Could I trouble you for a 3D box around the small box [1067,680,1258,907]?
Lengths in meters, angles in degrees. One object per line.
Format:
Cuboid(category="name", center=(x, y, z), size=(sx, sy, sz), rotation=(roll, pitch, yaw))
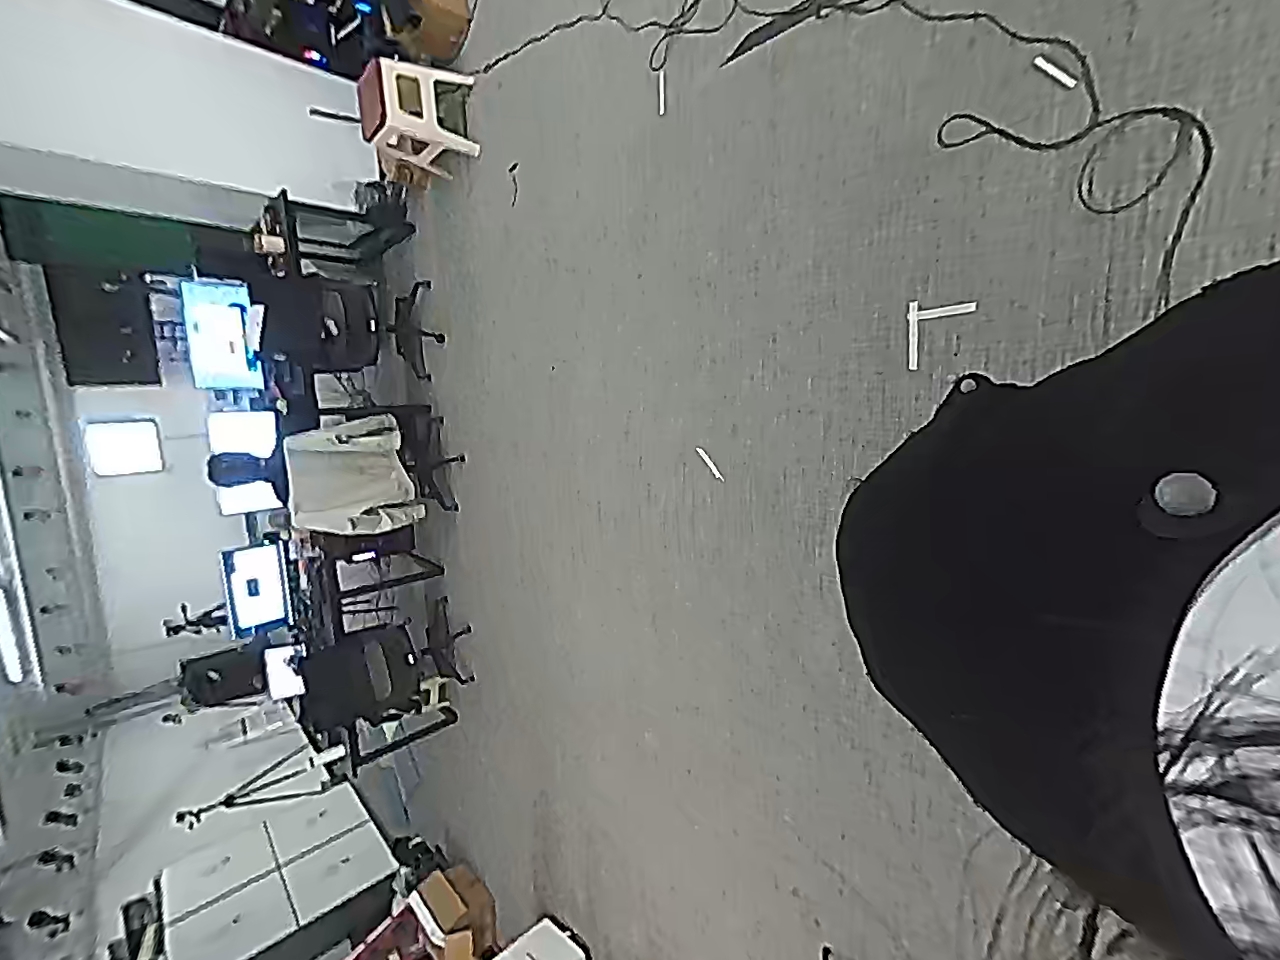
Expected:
Cuboid(category="small box", center=(0.702, 0.402, 0.732), size=(0.168, 0.176, 0.179), rotation=(5, 97, 46))
